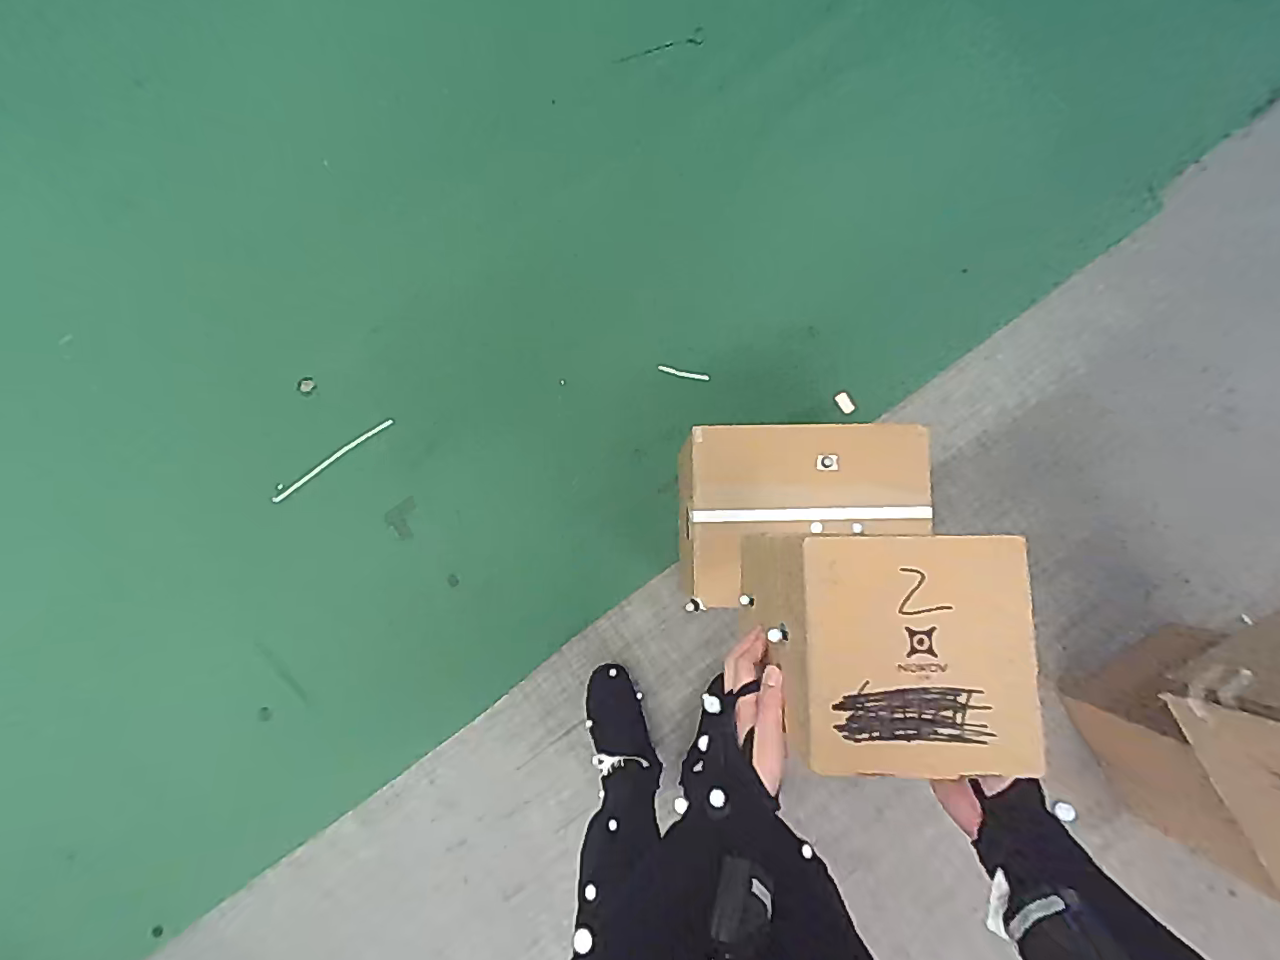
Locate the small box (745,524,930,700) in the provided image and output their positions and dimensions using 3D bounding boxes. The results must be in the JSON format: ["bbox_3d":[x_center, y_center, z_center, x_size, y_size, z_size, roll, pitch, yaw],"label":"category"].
[{"bbox_3d":[0.221,0.145,0.643,0.168,0.176,0.179,2,83,2],"label":"small box"}]
